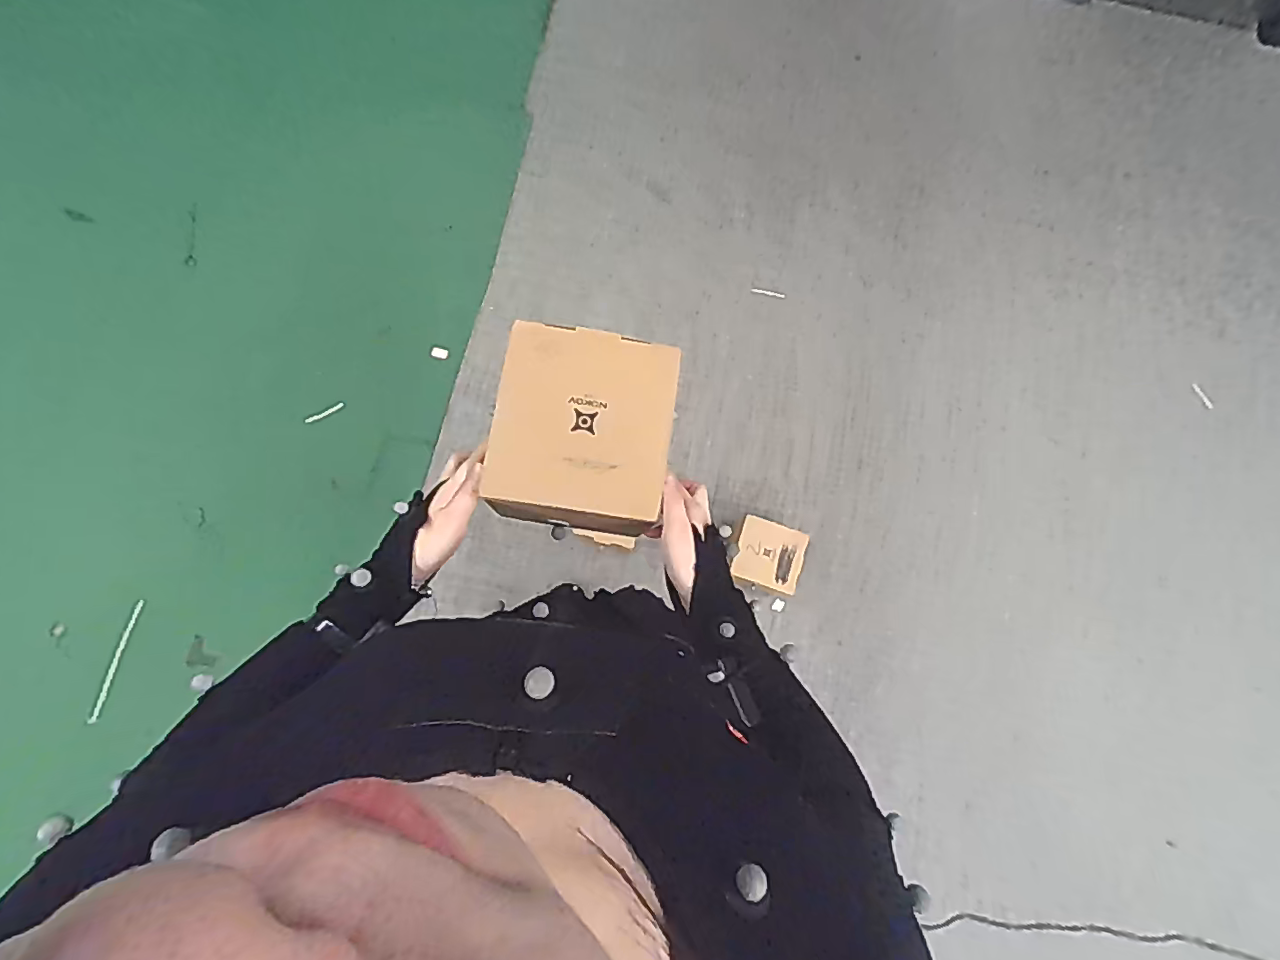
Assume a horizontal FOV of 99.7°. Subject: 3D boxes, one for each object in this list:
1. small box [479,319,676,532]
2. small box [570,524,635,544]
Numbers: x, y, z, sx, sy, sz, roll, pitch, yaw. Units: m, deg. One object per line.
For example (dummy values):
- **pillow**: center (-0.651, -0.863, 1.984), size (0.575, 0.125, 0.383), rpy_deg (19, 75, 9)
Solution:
- **small box**: center (-0.066, -0.046, 0.591), size (0.168, 0.176, 0.179), rpy_deg (9, 79, -6)
- **small box**: center (-0.082, 0.073, 1.490), size (0.168, 0.176, 0.179), rpy_deg (16, 80, 1)
